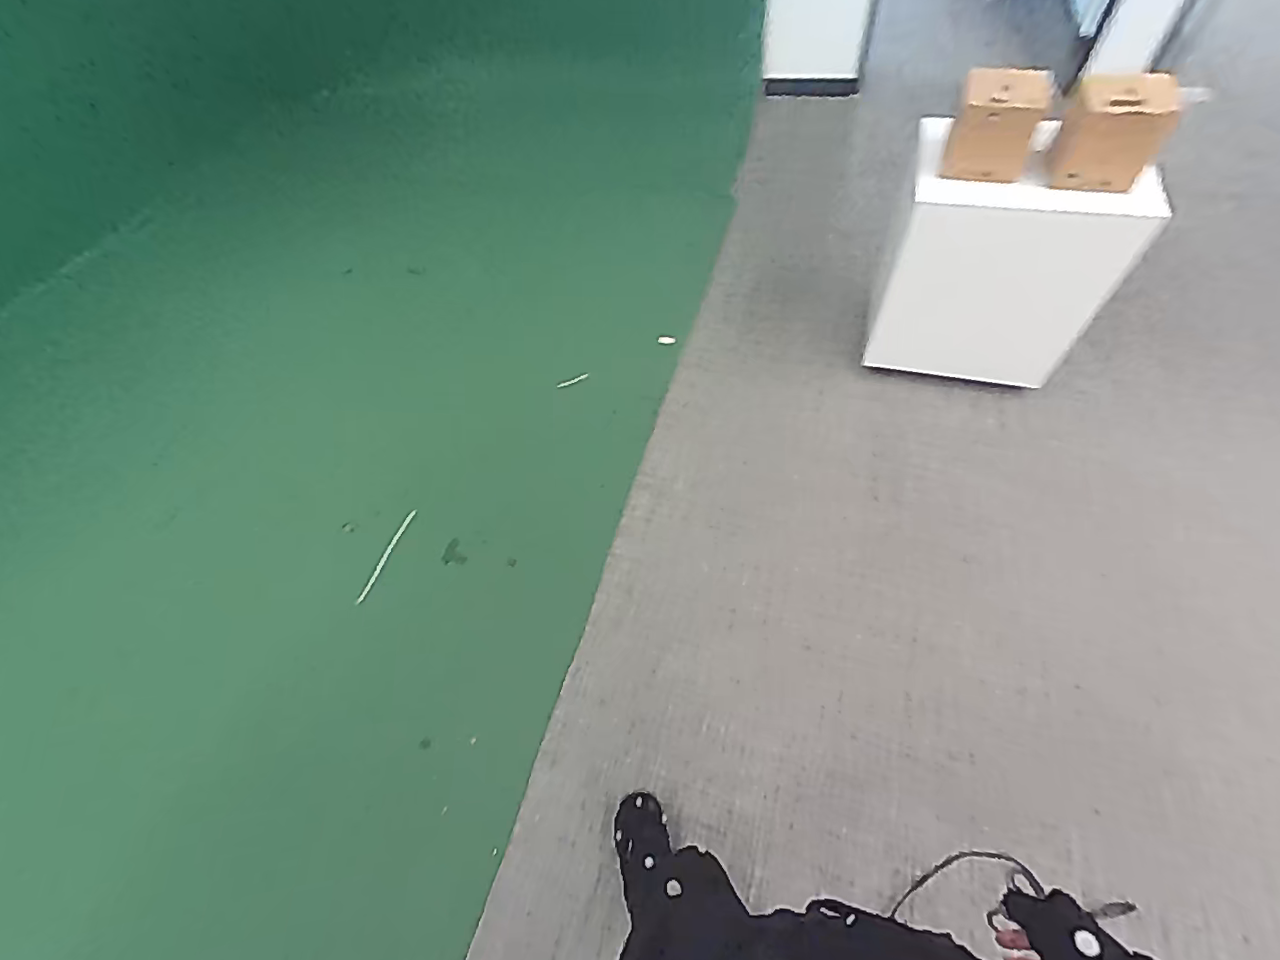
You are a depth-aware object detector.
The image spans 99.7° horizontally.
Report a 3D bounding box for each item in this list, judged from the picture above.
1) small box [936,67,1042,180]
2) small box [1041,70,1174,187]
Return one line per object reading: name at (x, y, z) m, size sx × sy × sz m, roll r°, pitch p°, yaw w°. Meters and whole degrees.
small box at (0.820, -0.845, 1.283) m, size 0.168 × 0.176 × 0.179 m, roll 13°, pitch 60°, yaw 16°
small box at (1.037, -0.788, 1.218) m, size 0.168 × 0.176 × 0.179 m, roll 12°, pitch 59°, yaw 15°
